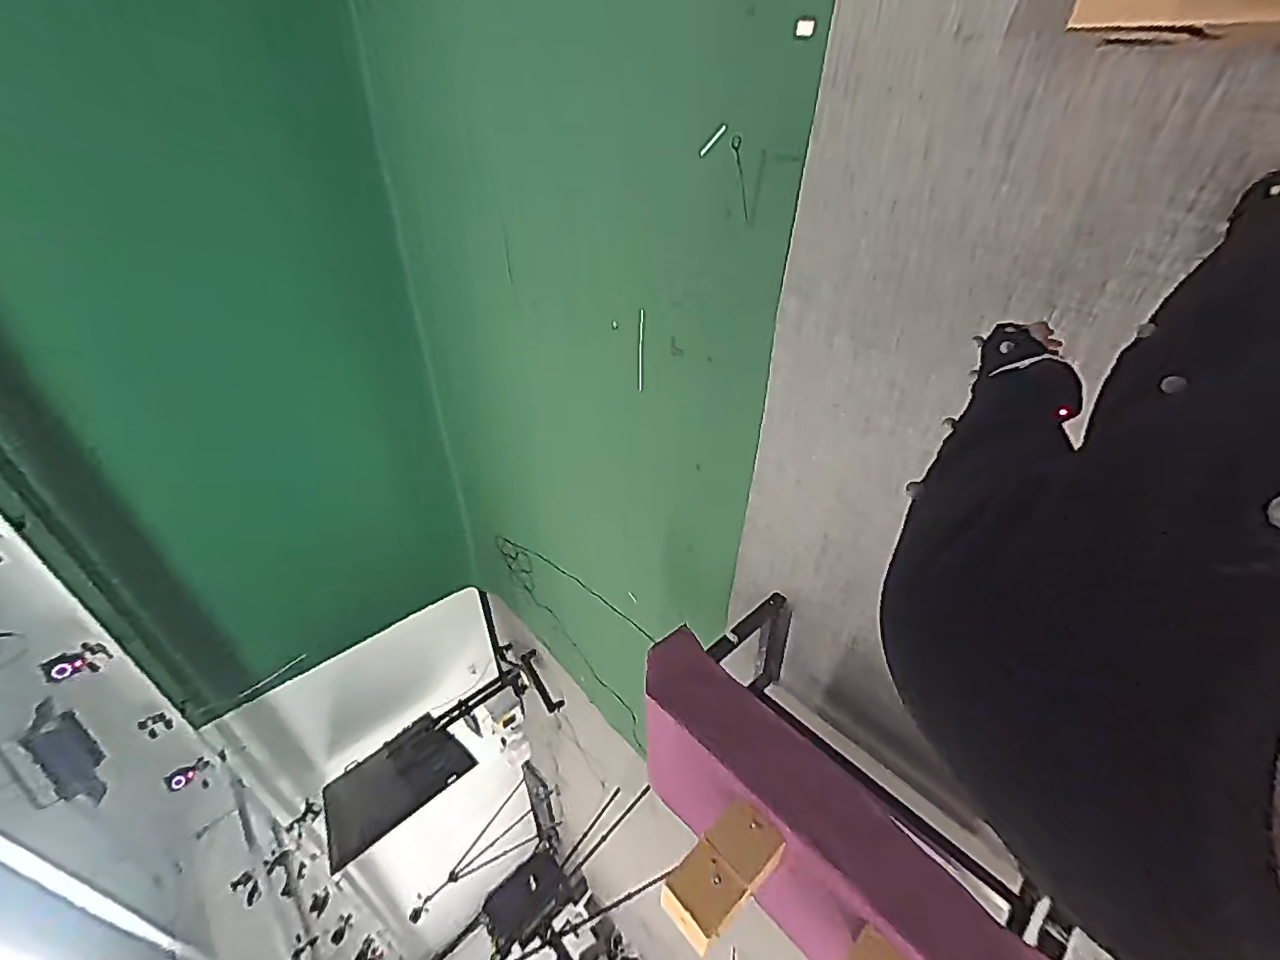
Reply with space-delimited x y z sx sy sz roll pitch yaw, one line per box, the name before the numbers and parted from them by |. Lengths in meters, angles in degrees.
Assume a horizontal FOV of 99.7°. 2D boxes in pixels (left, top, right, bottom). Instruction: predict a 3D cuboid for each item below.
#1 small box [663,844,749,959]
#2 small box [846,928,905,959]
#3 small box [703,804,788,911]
small box | 0.181 1.162 1.492 0.168 0.176 0.179 33 136 36
small box | 0.584 1.257 1.315 0.179 0.176 0.168 34 137 36
small box | 0.300 1.089 1.577 0.179 0.176 0.168 33 137 37
